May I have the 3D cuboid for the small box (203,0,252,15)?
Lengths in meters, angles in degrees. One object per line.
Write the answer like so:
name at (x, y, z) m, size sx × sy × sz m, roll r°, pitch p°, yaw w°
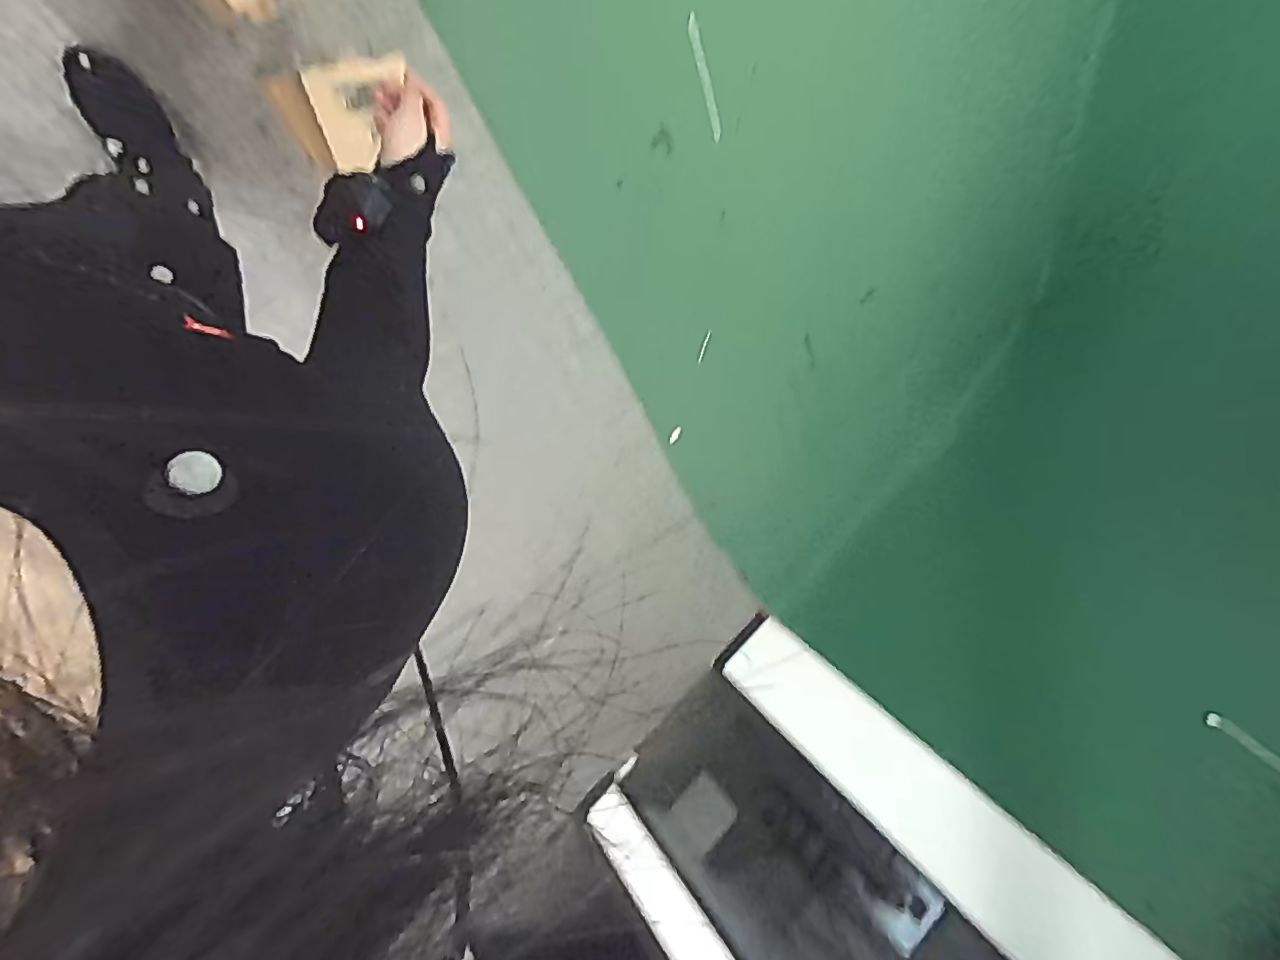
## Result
small box at (-0.671, -0.876, 0.851) m, size 0.168 × 0.176 × 0.179 m, roll -44°, pitch 139°, yaw -8°

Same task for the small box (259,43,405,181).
small box at (-0.593, -0.712, 1.045) m, size 0.168 × 0.176 × 0.179 m, roll -37°, pitch 138°, yaw -16°
